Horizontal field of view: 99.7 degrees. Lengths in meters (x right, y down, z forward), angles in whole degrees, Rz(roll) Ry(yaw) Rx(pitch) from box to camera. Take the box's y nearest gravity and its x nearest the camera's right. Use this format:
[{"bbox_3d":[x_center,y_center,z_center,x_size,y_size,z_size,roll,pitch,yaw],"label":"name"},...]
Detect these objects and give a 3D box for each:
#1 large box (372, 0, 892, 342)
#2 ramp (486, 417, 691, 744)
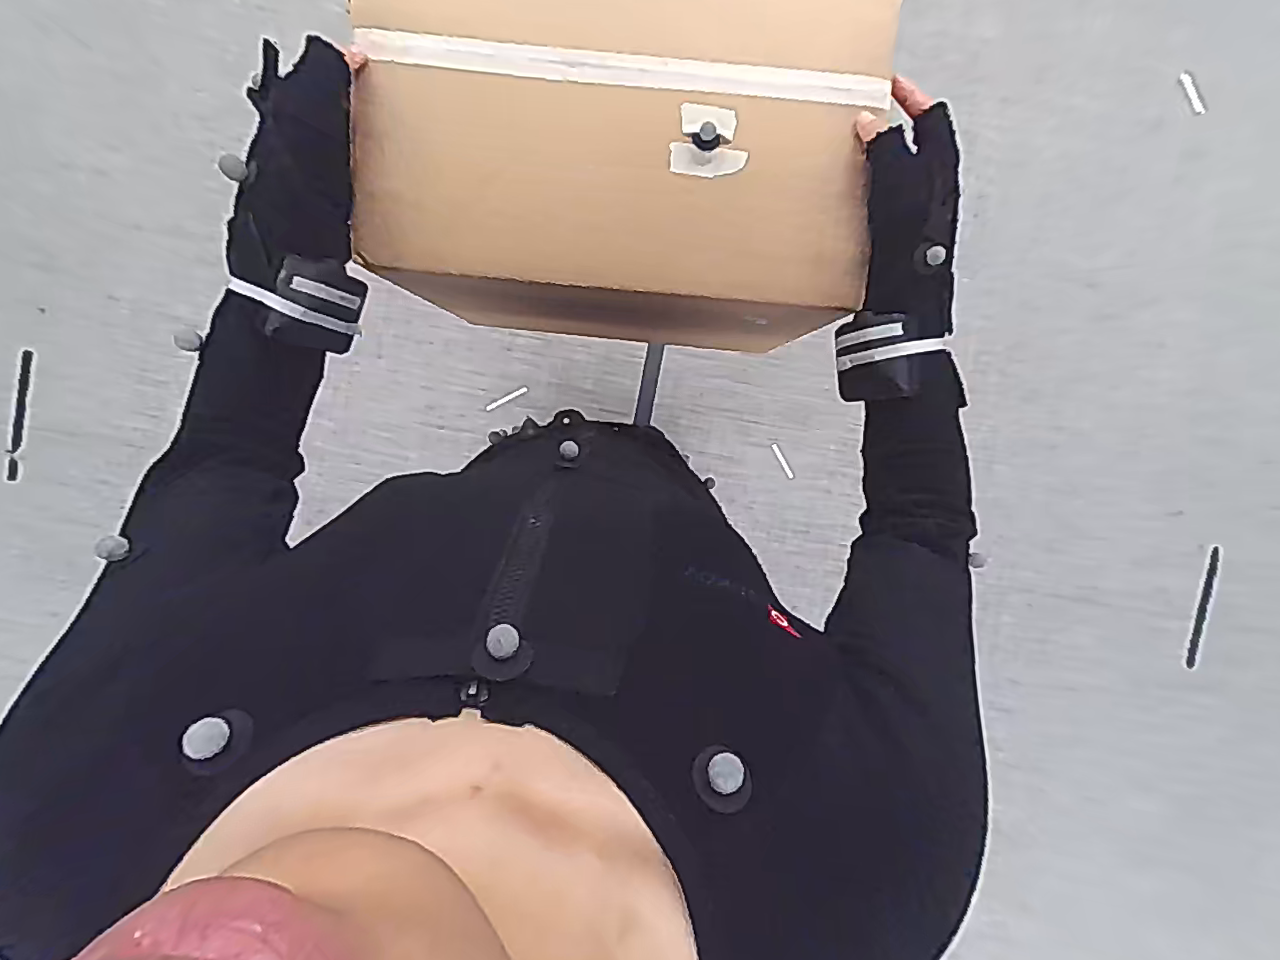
[{"bbox_3d":[-0.012,-0.334,0.569,0.408,0.320,0.320,5,98,-2],"label":"large box"},{"bbox_3d":[-0.174,0.338,1.602,0.509,0.206,0.991,8,95,-2],"label":"ramp"}]
